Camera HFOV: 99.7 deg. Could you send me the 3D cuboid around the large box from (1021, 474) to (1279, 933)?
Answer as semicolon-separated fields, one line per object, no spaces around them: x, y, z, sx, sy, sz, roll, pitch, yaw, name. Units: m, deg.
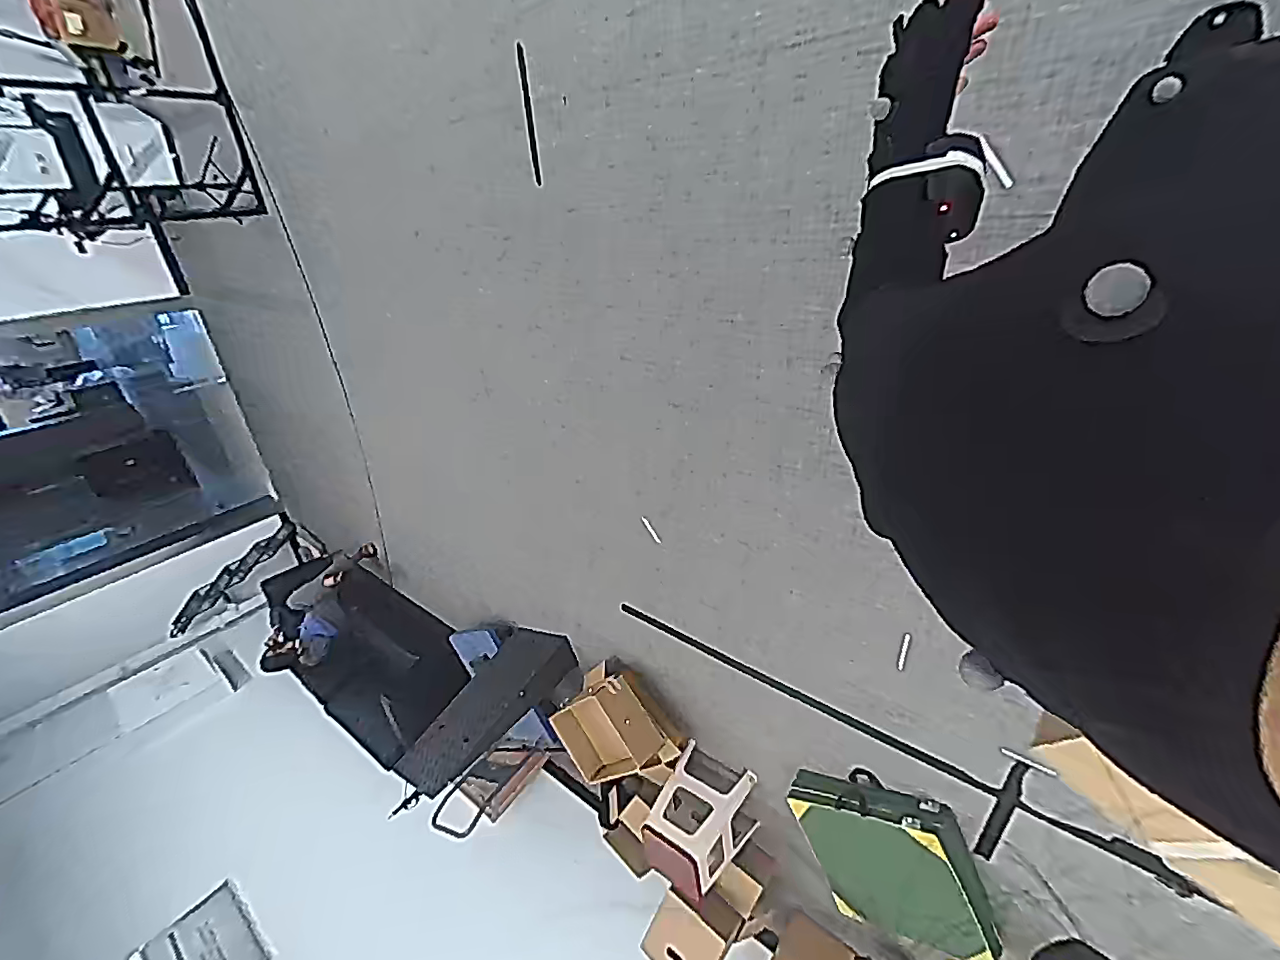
0.726;0.226;0.577;0.320;0.320;0.408;38;146;15;large box
